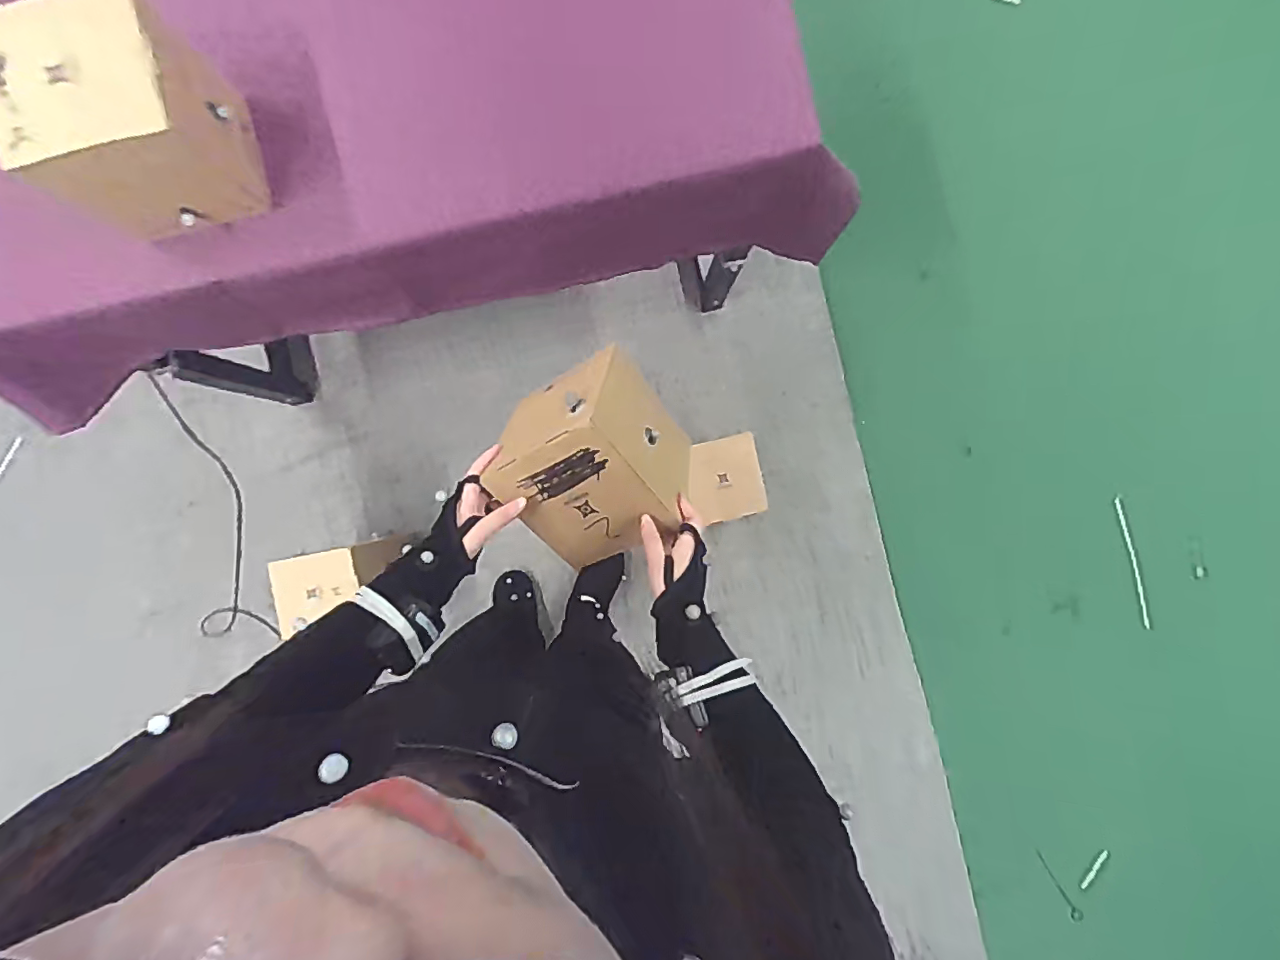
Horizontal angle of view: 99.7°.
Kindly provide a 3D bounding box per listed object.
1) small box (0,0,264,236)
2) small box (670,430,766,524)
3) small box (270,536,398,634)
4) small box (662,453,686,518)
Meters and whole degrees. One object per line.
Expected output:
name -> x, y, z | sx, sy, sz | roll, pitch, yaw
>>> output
small box -> -0.583, -0.417, 0.635 | 0.179, 0.176, 0.168 | -15, 90, -2
small box -> 0.170, -0.007, 1.223 | 0.168, 0.176, 0.179 | -12, 90, -3
small box -> -0.670, 0.225, 1.198 | 0.179, 0.176, 0.168 | -11, 91, -2
small box -> 0.157, -0.004, 1.385 | 0.179, 0.176, 0.168 | -15, 91, -2
